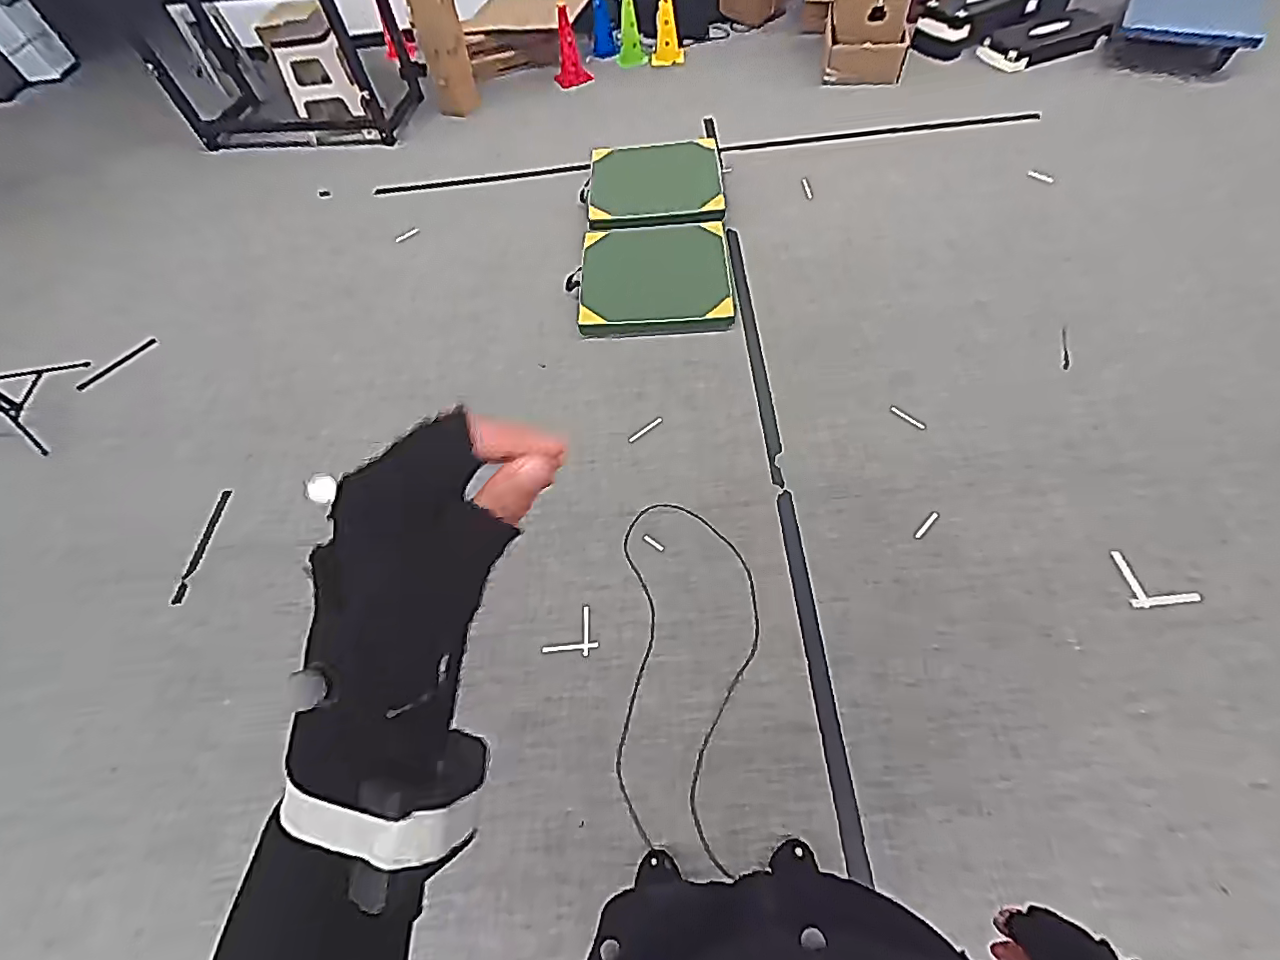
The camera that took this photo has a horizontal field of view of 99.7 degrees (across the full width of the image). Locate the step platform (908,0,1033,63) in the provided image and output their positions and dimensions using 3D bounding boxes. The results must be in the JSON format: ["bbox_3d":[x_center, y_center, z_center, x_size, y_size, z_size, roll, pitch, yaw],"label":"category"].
[{"bbox_3d":[1.894,-2.630,3.088,0.684,0.204,0.286,-29,60,-12],"label":"step platform"}]
